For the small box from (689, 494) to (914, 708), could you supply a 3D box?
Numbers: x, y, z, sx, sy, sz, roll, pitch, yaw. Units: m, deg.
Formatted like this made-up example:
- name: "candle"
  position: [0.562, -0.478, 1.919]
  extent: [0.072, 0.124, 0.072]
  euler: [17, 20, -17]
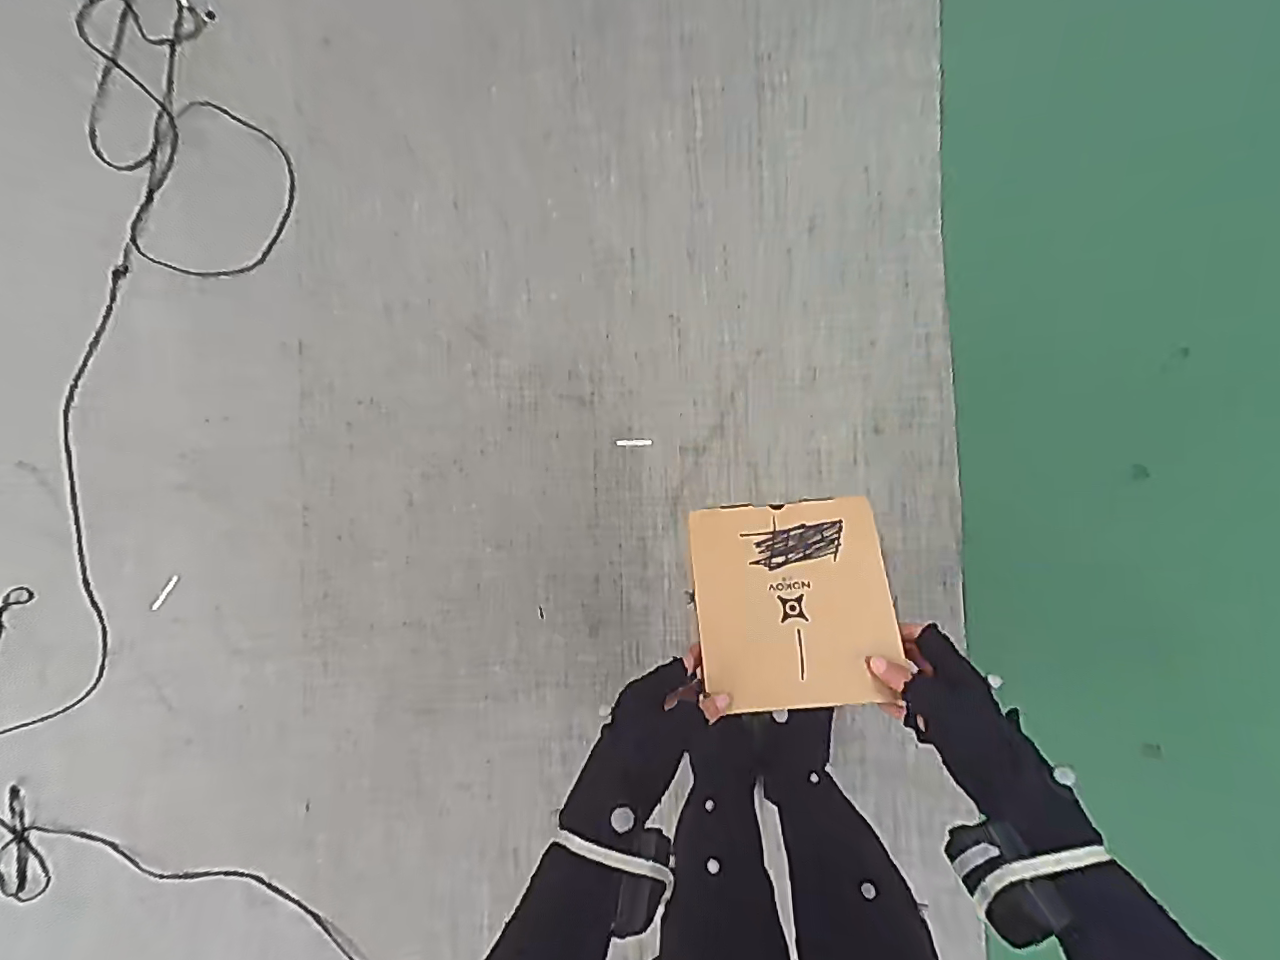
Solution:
- name: "small box"
  position: [0.140, 0.128, 0.541]
  extent: [0.168, 0.176, 0.179]
  euler: [-5, 70, 2]
